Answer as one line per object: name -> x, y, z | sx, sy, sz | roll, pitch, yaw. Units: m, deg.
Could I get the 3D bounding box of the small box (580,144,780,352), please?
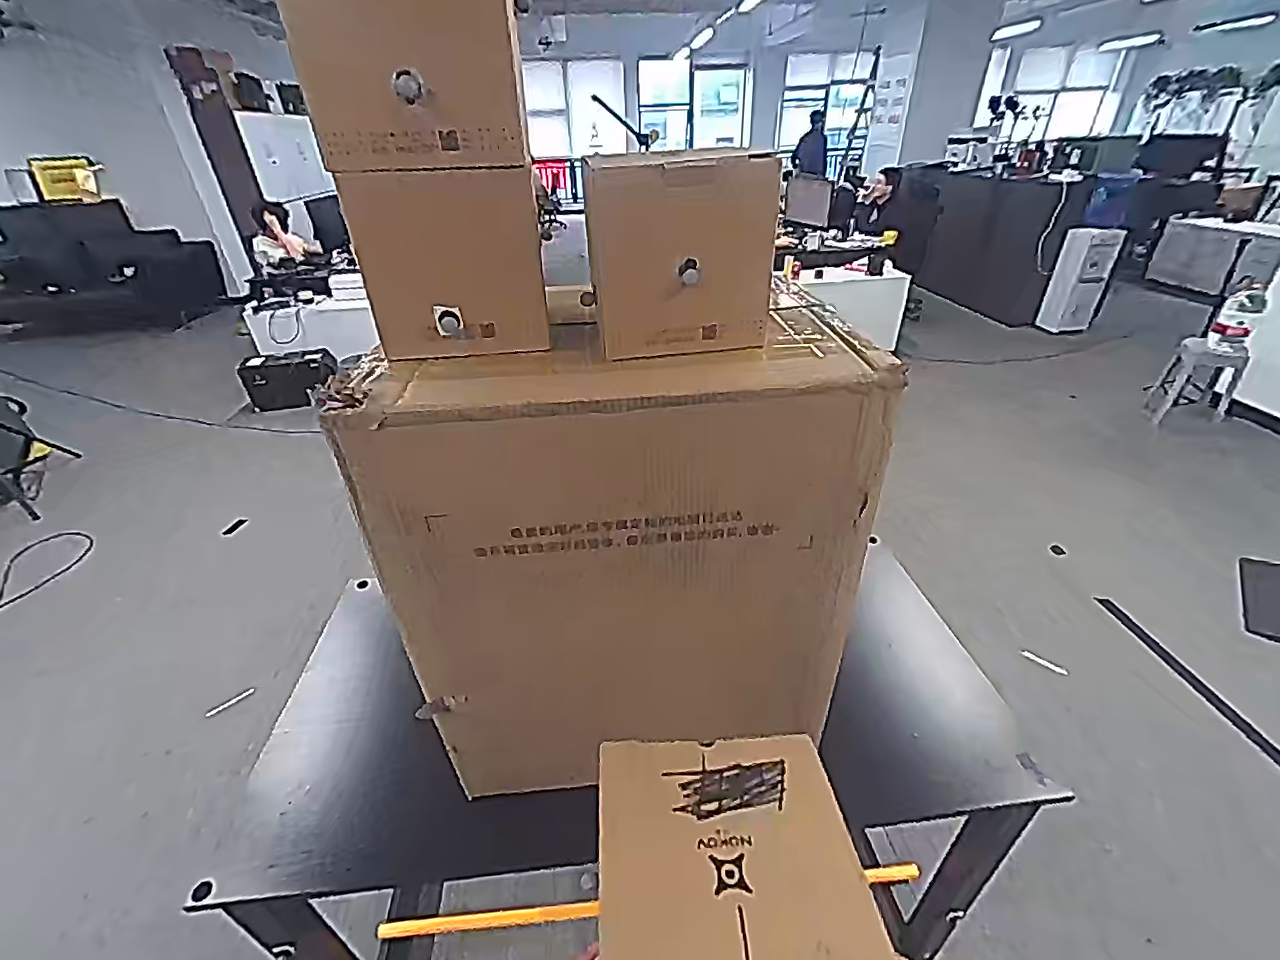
small box -> 0.032, -0.238, 0.558 | 0.168, 0.176, 0.179 | -7, 35, -5

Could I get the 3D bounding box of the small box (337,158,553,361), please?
small box -> -0.185, -0.236, 0.569 | 0.168, 0.176, 0.179 | -7, 35, -8

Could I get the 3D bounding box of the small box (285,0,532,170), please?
small box -> -0.191, -0.374, 0.477 | 0.168, 0.176, 0.179 | -6, 33, -6

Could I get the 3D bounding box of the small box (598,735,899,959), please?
small box -> 0.055, 0.308, 0.374 | 0.168, 0.176, 0.179 | -1, 27, -3
